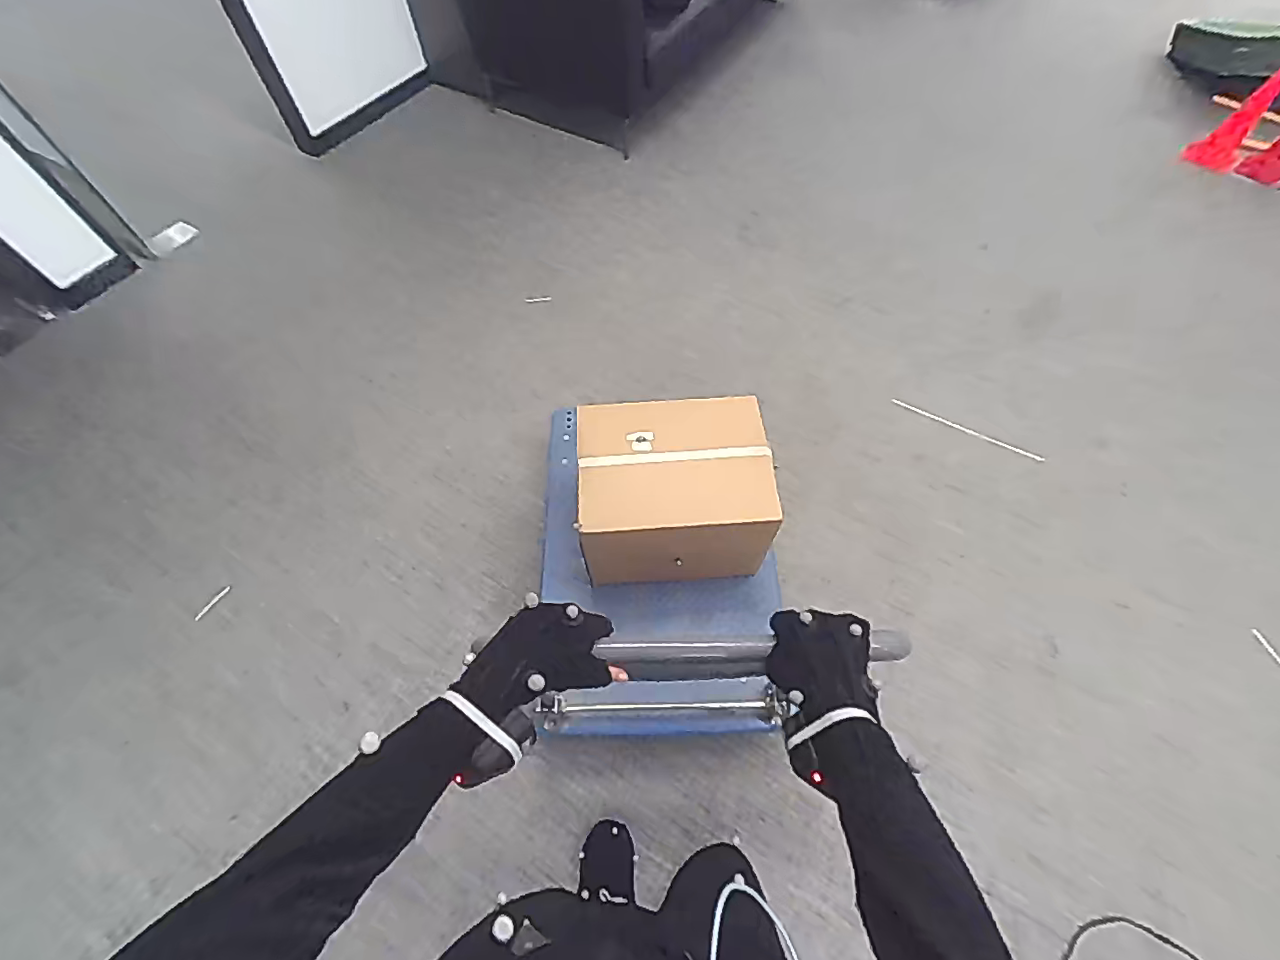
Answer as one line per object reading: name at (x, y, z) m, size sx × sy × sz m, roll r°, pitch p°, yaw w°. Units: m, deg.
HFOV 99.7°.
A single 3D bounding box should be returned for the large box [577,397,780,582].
large box at (0.074, 0.035, 1.274) m, size 0.408 × 0.320 × 0.320 m, roll -5°, pitch 60°, yaw -1°
